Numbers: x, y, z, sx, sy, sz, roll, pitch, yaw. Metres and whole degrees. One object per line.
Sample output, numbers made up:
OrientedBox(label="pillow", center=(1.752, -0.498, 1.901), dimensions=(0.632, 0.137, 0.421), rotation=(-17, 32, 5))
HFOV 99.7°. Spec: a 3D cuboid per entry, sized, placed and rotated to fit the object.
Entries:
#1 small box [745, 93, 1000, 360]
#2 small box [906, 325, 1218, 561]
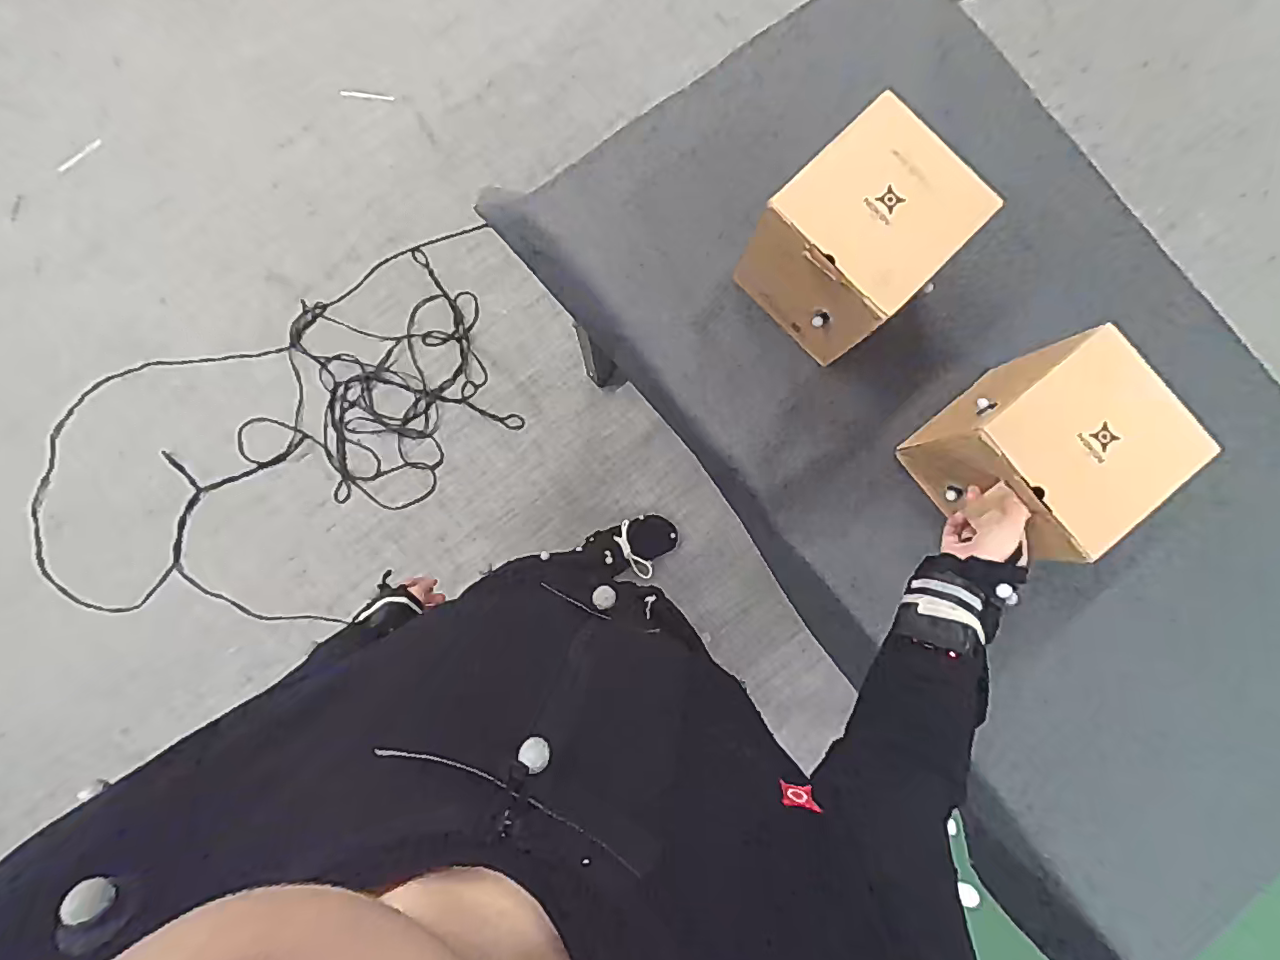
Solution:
OrientedBox(label="small box", center=(0.239, -0.265, 0.611), dimensions=(0.168, 0.176, 0.179), rotation=(45, 84, 1))
OrientedBox(label="small box", center=(0.442, -0.032, 0.599), dimensions=(0.179, 0.176, 0.168), rotation=(-39, 88, -4))
